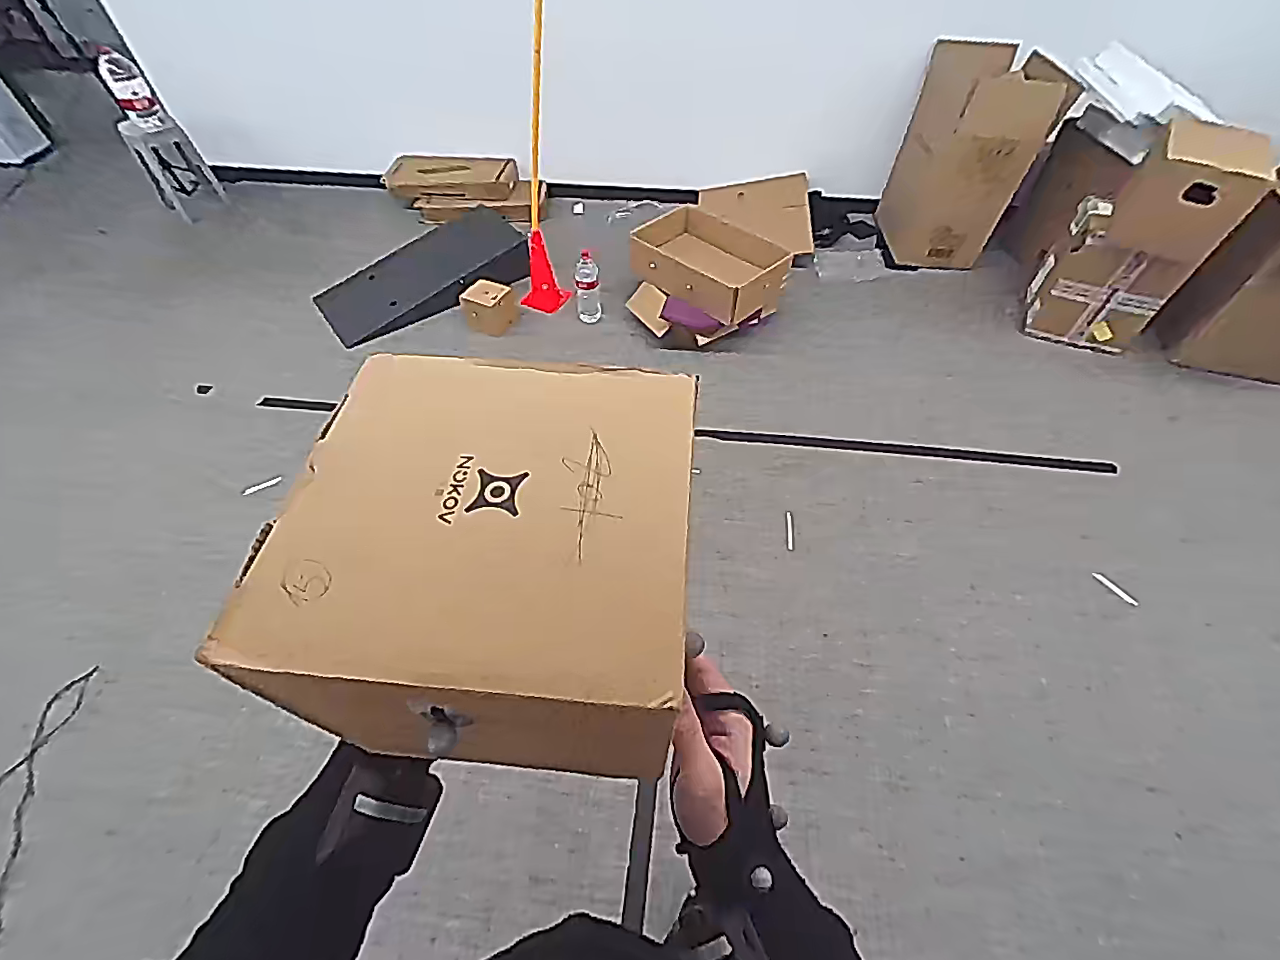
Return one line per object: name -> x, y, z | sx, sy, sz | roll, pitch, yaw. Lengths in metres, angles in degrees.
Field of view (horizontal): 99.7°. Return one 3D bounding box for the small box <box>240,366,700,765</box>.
small box -> -0.061, 0.056, 0.311 | 0.179, 0.176, 0.168 | 4, 54, 2
